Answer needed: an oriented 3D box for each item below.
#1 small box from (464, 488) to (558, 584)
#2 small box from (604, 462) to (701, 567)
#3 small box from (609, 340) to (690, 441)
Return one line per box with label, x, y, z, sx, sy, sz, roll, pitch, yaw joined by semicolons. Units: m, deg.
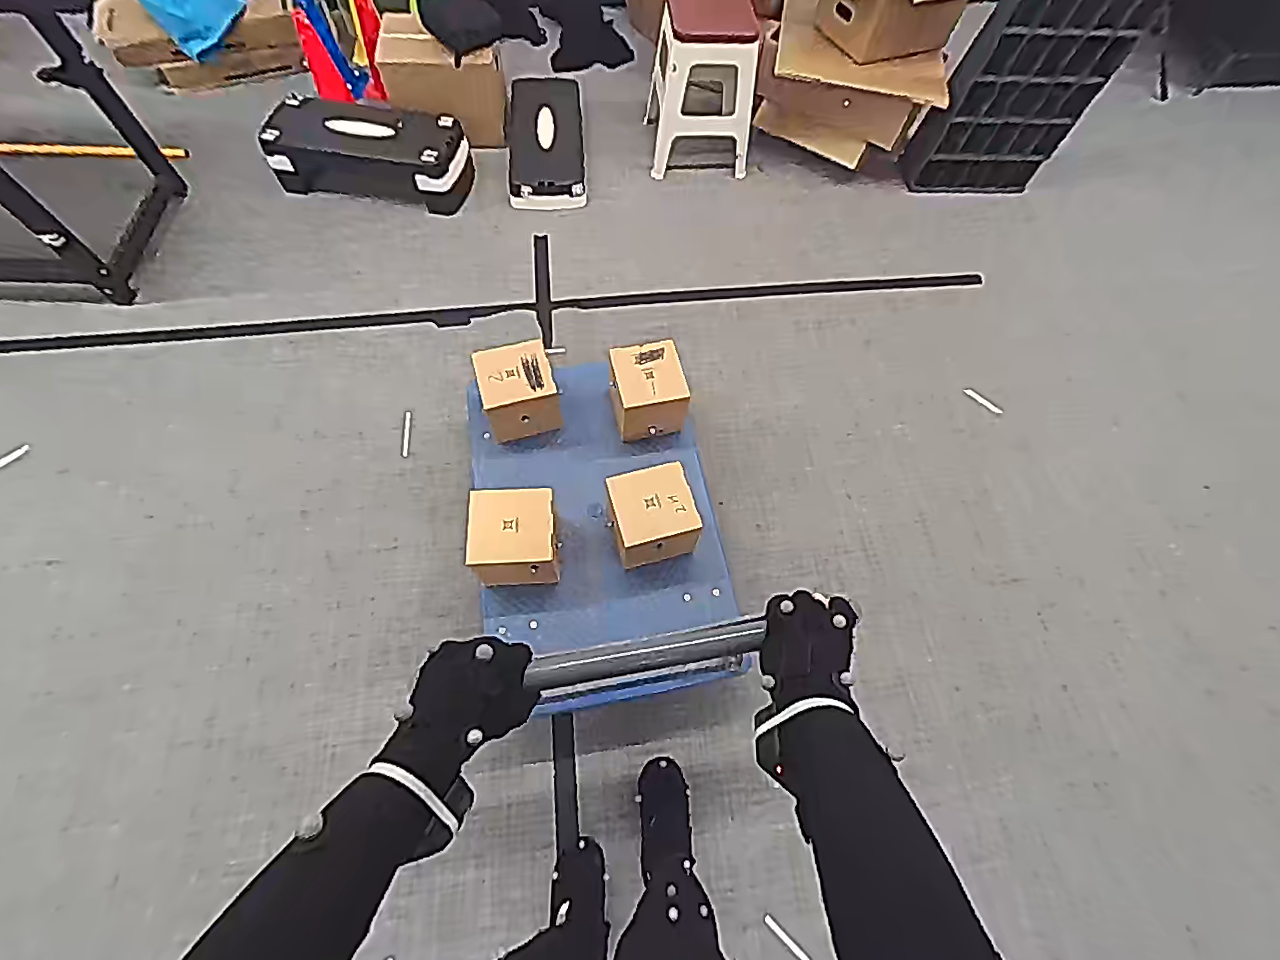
small box;-0.276;0.128;1.191;0.179;0.176;0.168;-2;65;-6
small box;0.023;0.084;1.228;0.179;0.176;0.168;-13;67;-9
small box;0.017;-0.224;1.370;0.168;0.176;0.179;-11;67;-8
